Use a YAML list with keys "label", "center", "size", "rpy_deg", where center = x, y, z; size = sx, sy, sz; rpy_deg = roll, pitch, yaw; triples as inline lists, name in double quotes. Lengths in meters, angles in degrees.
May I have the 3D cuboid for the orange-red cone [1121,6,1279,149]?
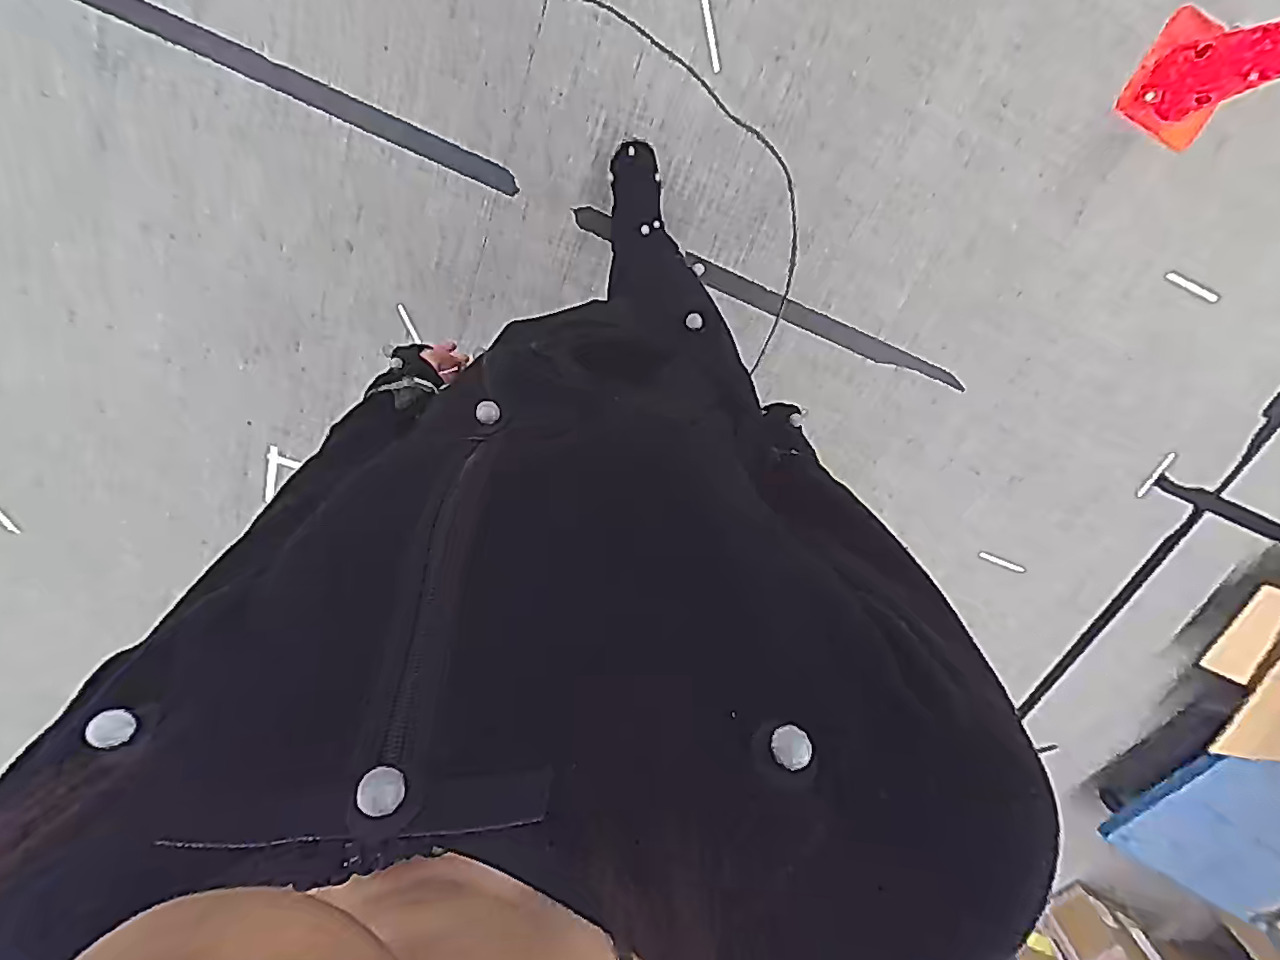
- label: "orange-red cone"
  center: [1.124, -0.752, 0.952]
  size: [0.199, 0.360, 0.198]
  rpy_deg: [23, 111, -11]
